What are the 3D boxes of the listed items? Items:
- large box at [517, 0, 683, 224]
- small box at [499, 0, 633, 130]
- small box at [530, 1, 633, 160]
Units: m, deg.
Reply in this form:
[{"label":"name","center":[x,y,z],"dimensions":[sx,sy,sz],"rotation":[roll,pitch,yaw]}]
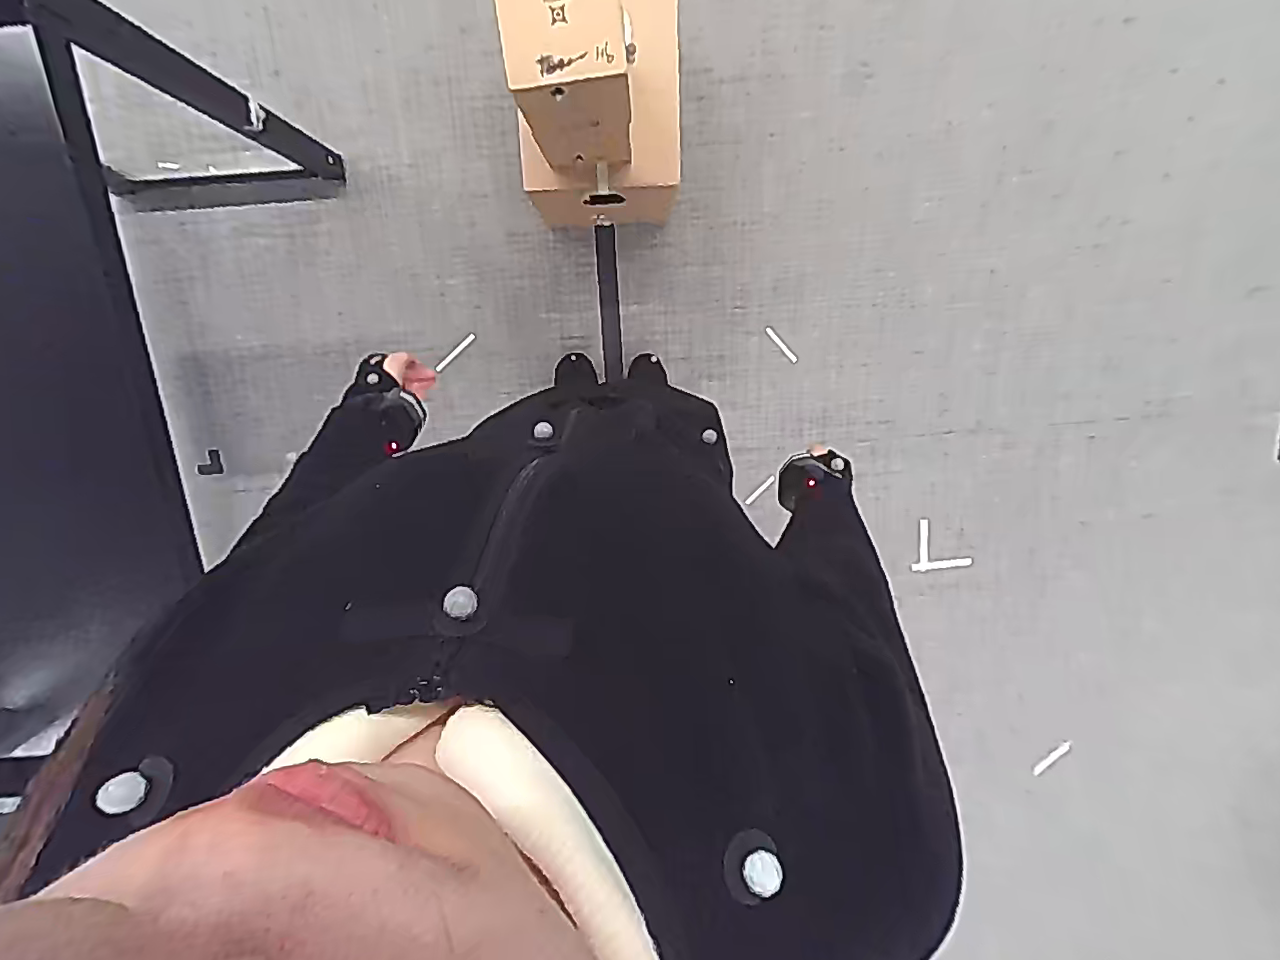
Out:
[{"label":"large box","center":[-0.081,-0.805,1.158],"dimensions":[0.320,0.320,0.408],"rotation":[-2,103,-1]},{"label":"small box","center":[-0.101,-0.642,0.777],"dimensions":[0.168,0.176,0.179],"rotation":[-6,102,3]},{"label":"small box","center":[-0.099,-0.682,0.936],"dimensions":[0.168,0.176,0.179],"rotation":[-3,104,2]}]
